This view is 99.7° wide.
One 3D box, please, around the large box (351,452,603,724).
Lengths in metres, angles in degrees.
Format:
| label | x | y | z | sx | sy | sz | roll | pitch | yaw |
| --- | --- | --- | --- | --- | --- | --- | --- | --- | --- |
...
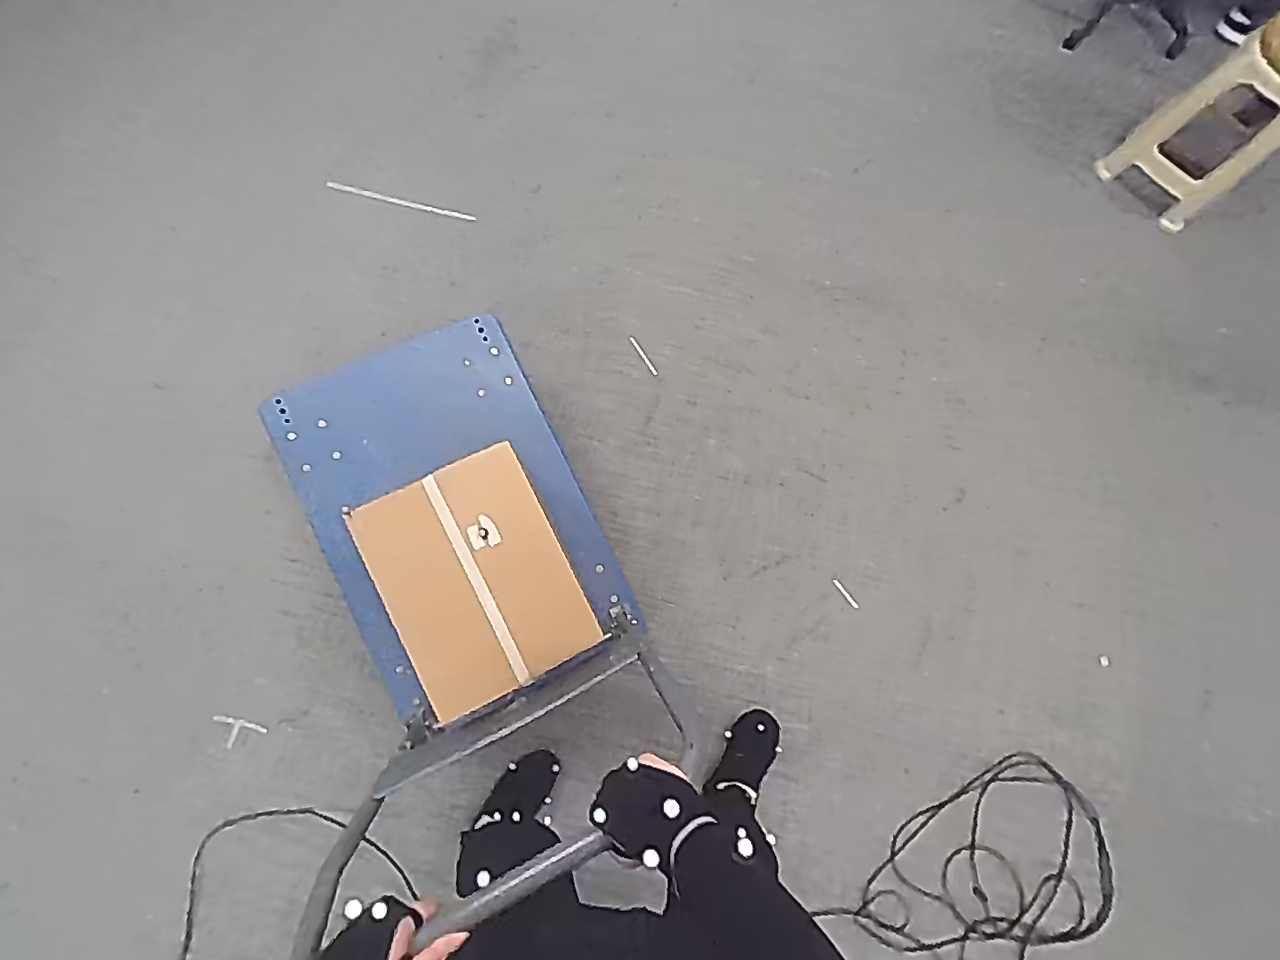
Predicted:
| label | x | y | z | sx | sy | sz | roll | pitch | yaw |
| --- | --- | --- | --- | --- | --- | --- | --- | --- | --- |
| large box | -0.307 | 0.206 | 1.122 | 0.320 | 0.320 | 0.408 | -27 | 87 | -10 |
